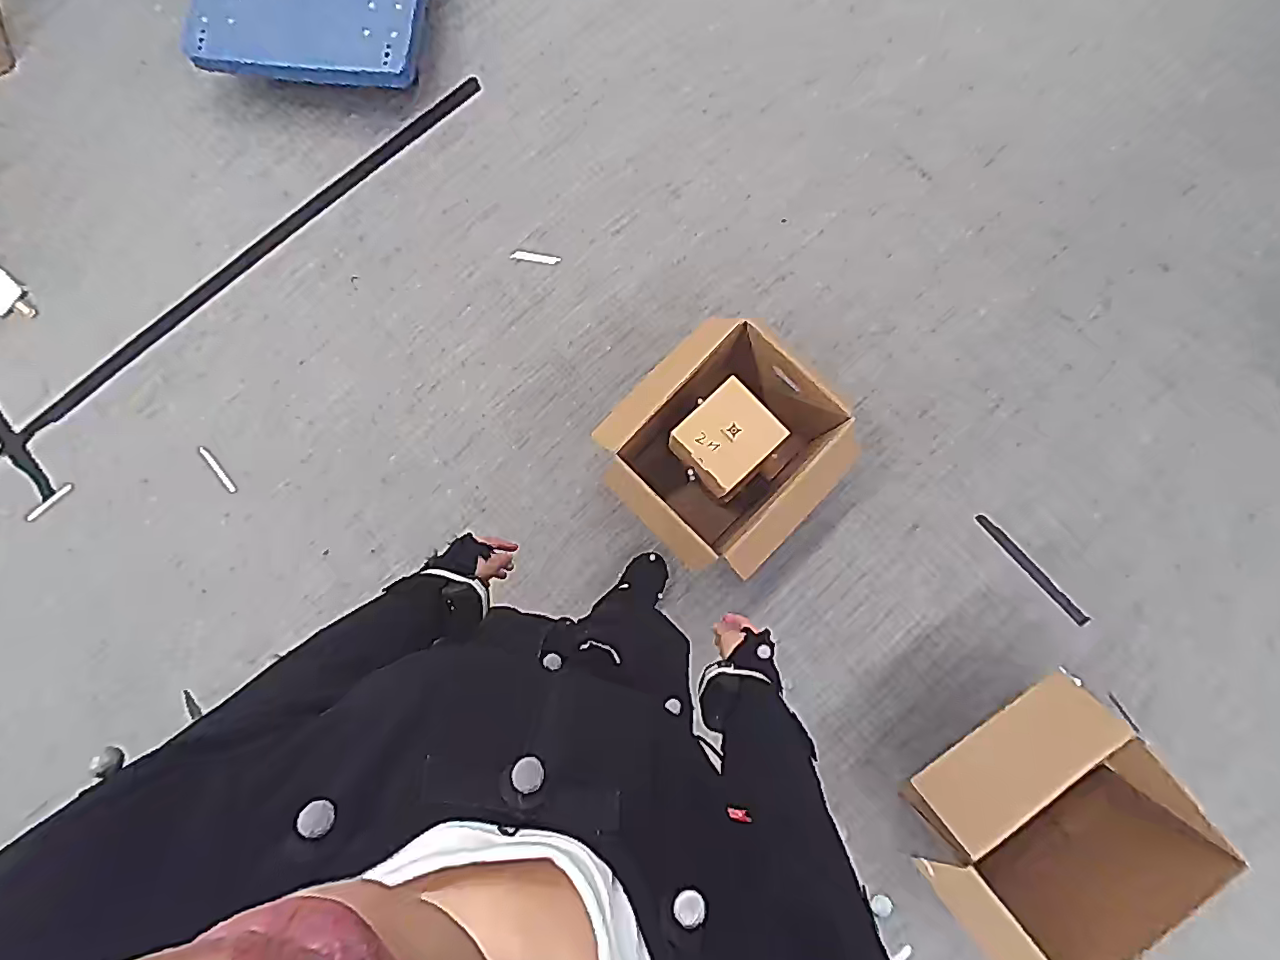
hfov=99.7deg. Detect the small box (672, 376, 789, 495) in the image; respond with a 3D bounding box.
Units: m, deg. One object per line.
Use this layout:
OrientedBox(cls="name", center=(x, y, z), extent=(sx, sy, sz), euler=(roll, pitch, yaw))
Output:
OrientedBox(cls="small box", center=(0.181, -0.087, 1.152), extent=(0.179, 0.176, 0.168), euler=(-43, 84, -3))
